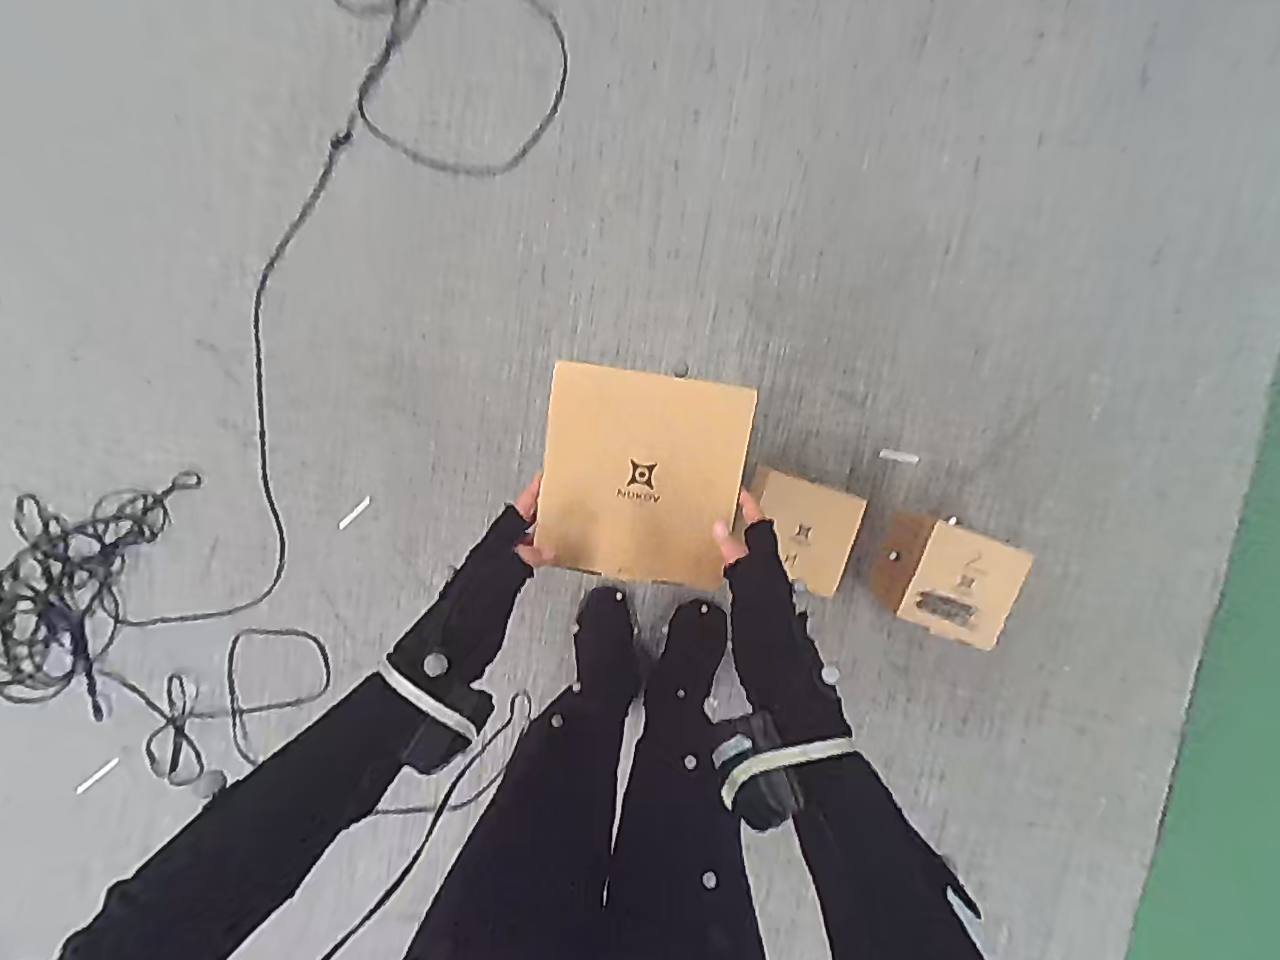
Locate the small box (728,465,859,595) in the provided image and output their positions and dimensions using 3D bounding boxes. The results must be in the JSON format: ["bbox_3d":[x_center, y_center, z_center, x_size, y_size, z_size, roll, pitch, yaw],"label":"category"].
[{"bbox_3d":[0.262,0.078,0.974,0.168,0.176,0.179,18,97,4],"label":"small box"}]

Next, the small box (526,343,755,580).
[{"bbox_3d":[-0.002,-0.027,0.517,0.168,0.176,0.179,9,102,-1],"label":"small box"}]
